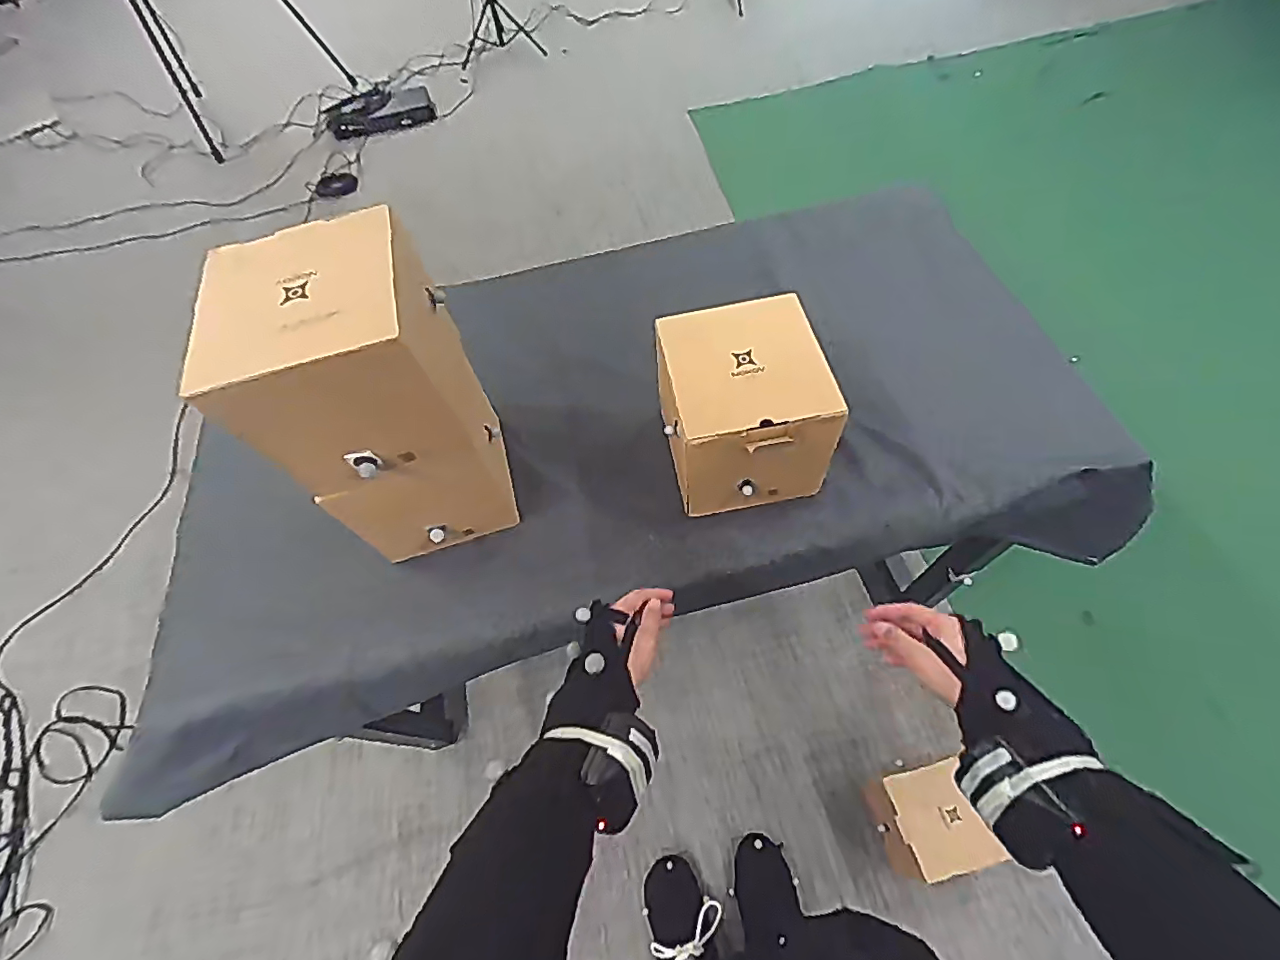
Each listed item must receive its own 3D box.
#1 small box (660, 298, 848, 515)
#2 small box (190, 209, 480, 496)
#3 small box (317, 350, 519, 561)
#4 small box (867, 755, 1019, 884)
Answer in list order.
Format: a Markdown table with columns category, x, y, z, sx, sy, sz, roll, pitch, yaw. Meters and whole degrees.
| category | x | y | z | sx | sy | sz | roll | pitch | yaw |
| --- | --- | --- | --- | --- | --- | --- | --- | --- | --- |
| small box | 0.119 | -0.082 | 0.644 | 0.168 | 0.176 | 0.179 | -11 | 59 | -1 |
| small box | -0.266 | -0.112 | 0.510 | 0.168 | 0.176 | 0.179 | -17 | 61 | -3 |
| small box | -0.257 | -0.029 | 0.649 | 0.168 | 0.176 | 0.179 | -17 | 60 | -4 |
| small box | 0.553 | 0.639 | 1.023 | 0.179 | 0.176 | 0.168 | -15 | 58 | -3 |
